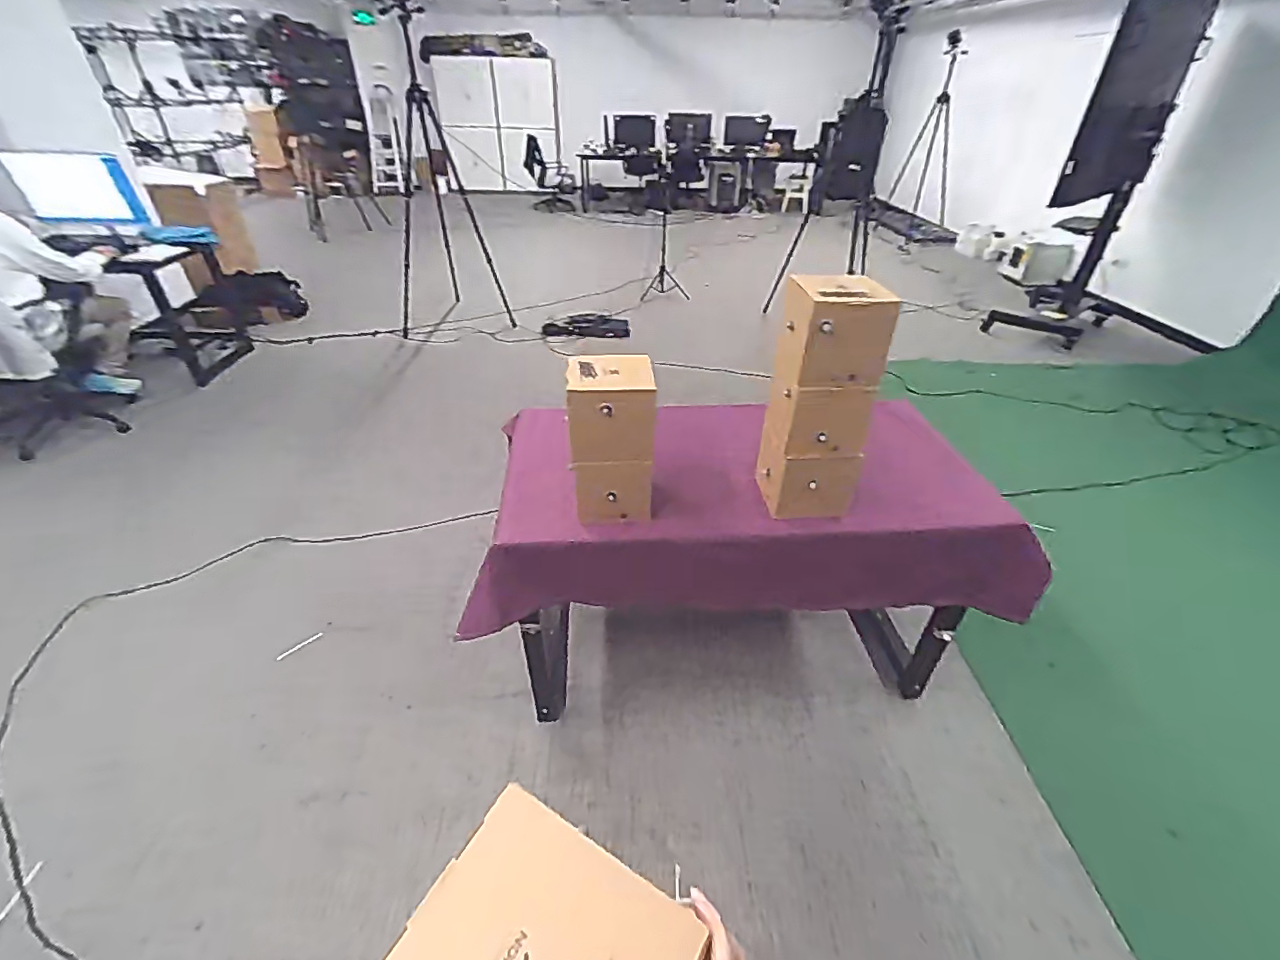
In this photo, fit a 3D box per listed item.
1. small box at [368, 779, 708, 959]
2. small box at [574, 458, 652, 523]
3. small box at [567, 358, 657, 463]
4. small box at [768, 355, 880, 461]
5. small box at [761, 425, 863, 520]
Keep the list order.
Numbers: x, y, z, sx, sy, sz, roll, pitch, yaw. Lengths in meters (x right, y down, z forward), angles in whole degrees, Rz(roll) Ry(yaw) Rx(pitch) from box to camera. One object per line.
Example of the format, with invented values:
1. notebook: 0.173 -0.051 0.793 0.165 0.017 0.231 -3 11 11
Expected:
1. small box: -0.065 0.363 0.382 0.179 0.176 0.168 17 46 29
2. small box: -0.060 -0.014 1.240 0.168 0.176 0.179 -1 35 -4
3. small box: -0.059 -0.147 1.143 0.179 0.176 0.168 -1 36 -4
4. small box: 0.385 -0.157 1.169 0.168 0.176 0.179 -1 36 -3
5. small box: 0.387 -0.021 1.259 0.179 0.176 0.168 -3 36 -4
